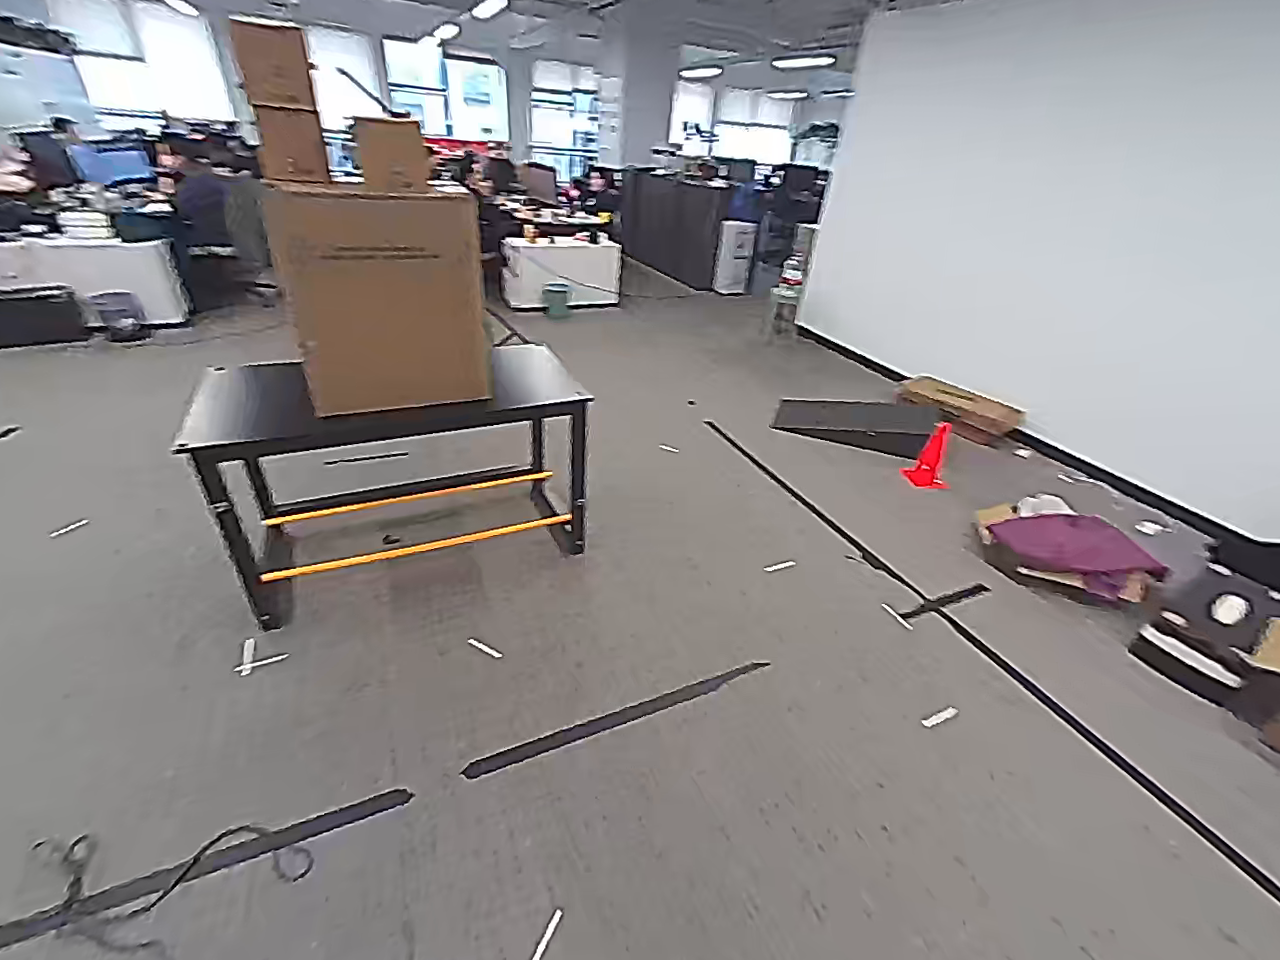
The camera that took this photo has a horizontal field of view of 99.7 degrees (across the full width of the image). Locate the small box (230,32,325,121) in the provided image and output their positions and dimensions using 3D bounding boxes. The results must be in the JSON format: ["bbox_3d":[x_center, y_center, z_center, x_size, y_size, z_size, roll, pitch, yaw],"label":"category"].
[{"bbox_3d":[-0.926,-1.032,1.395,0.168,0.176,0.179,-12,36,-25],"label":"small box"}]

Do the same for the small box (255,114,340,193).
[{"bbox_3d":[-0.942,-0.901,1.494,0.168,0.176,0.179,-14,37,-26],"label":"small box"}]

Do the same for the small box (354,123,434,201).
[{"bbox_3d":[-0.676,-0.875,1.487,0.168,0.176,0.179,-13,37,-24],"label":"small box"}]
